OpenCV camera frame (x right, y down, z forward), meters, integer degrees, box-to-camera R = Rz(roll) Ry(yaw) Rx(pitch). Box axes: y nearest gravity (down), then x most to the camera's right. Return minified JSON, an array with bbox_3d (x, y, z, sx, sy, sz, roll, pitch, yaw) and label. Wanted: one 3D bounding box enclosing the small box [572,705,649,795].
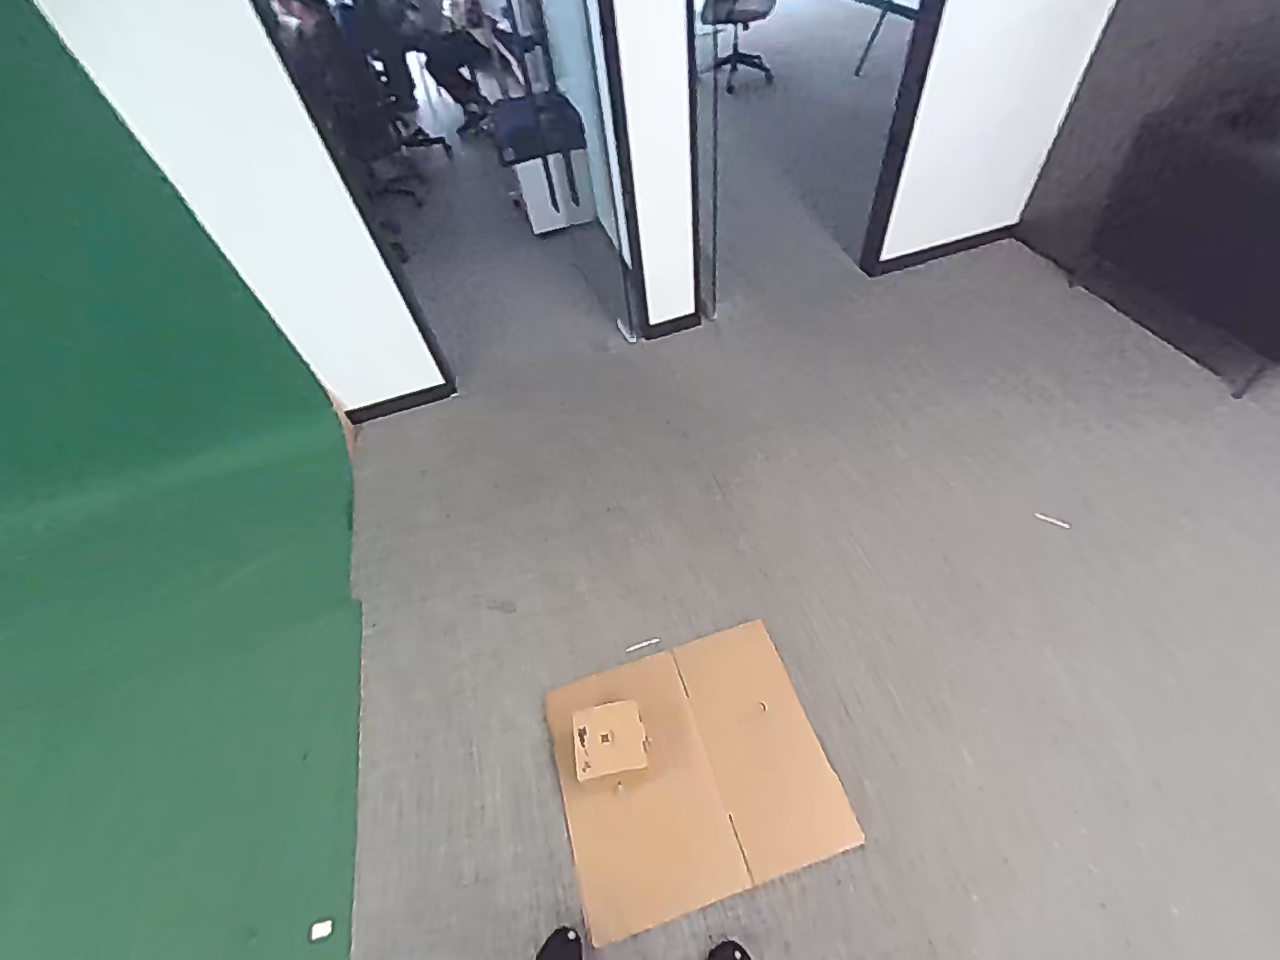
[{"bbox_3d":[-0.073,0.705,1.408,0.179,0.176,0.168,-10,51,-1],"label":"small box"}]
